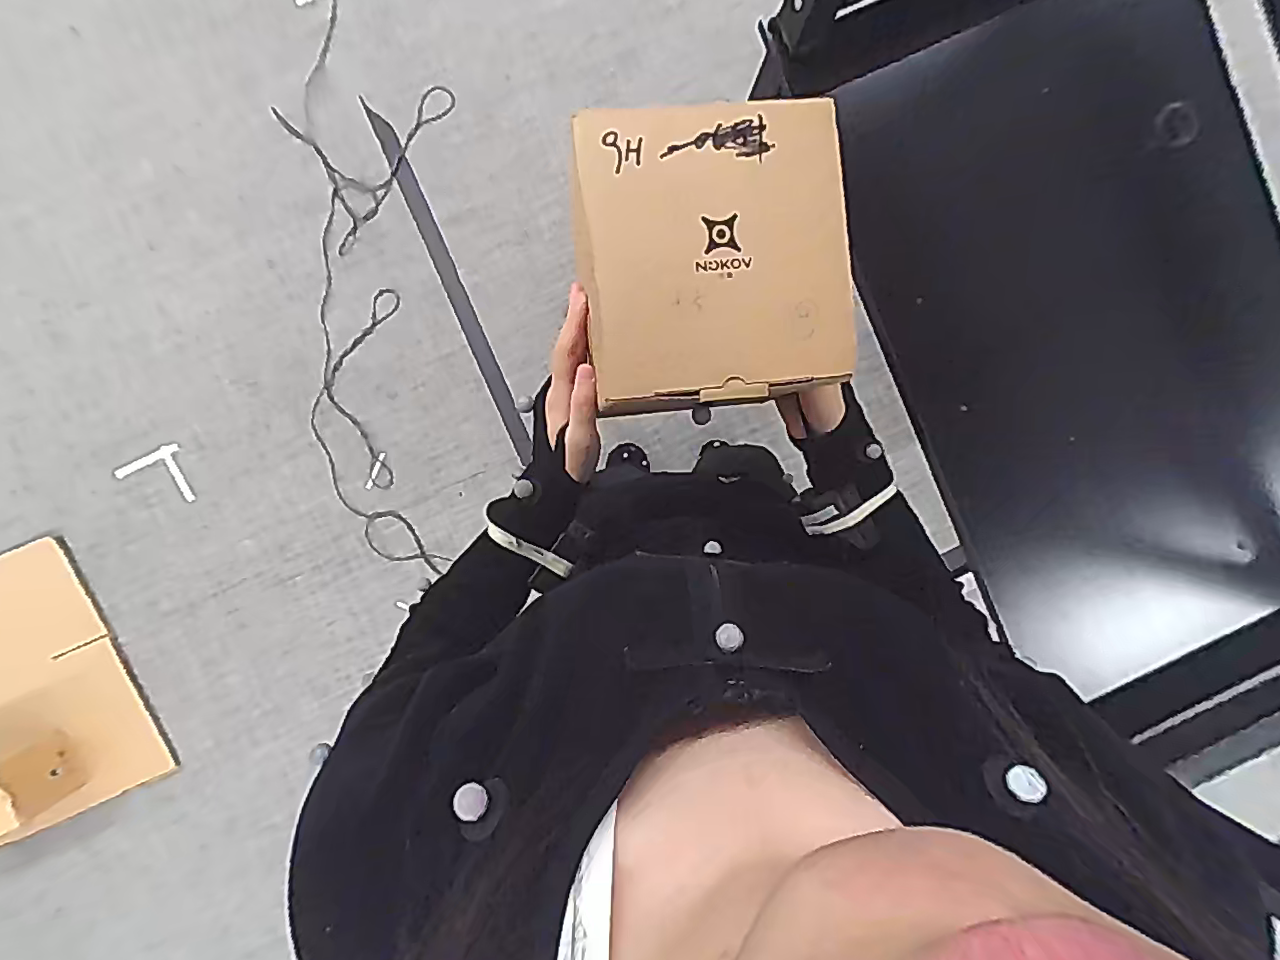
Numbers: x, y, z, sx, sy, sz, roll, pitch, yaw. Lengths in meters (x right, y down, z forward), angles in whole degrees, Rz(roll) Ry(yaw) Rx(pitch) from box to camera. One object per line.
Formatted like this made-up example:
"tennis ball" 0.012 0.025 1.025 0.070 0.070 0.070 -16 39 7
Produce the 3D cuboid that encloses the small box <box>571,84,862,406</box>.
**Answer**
"small box" 0.041 -0.149 0.402 0.168 0.176 0.179 -8 95 -8
